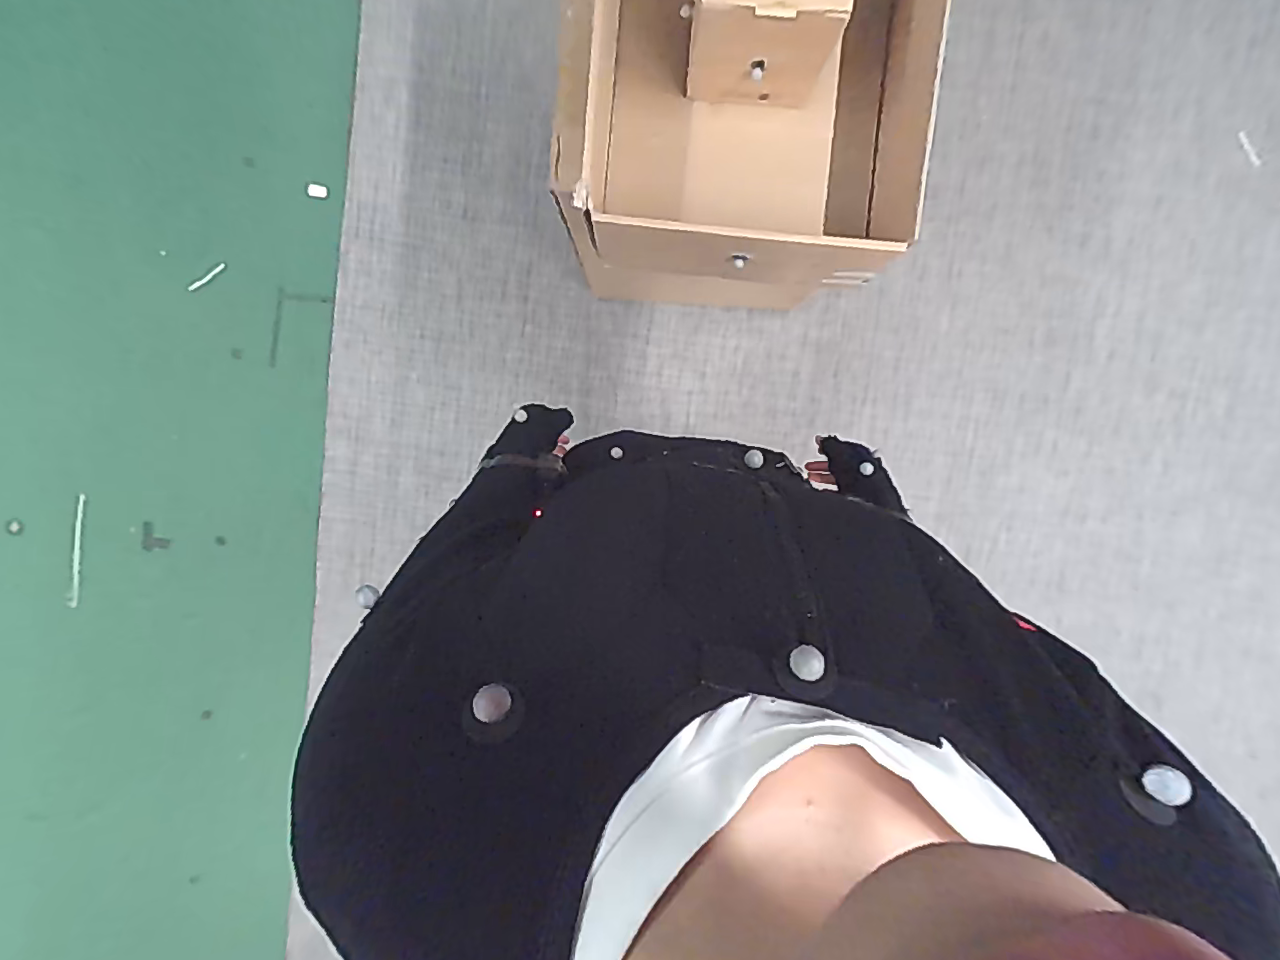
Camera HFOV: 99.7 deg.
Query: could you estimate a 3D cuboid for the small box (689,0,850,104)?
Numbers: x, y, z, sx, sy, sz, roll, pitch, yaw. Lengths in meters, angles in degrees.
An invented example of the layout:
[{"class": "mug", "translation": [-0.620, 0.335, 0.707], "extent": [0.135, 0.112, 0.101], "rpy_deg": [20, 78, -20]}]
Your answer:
[{"class": "small box", "translation": [0.152, -0.594, 0.652], "extent": [0.168, 0.176, 0.179], "rpy_deg": [5, 95, -1]}]
